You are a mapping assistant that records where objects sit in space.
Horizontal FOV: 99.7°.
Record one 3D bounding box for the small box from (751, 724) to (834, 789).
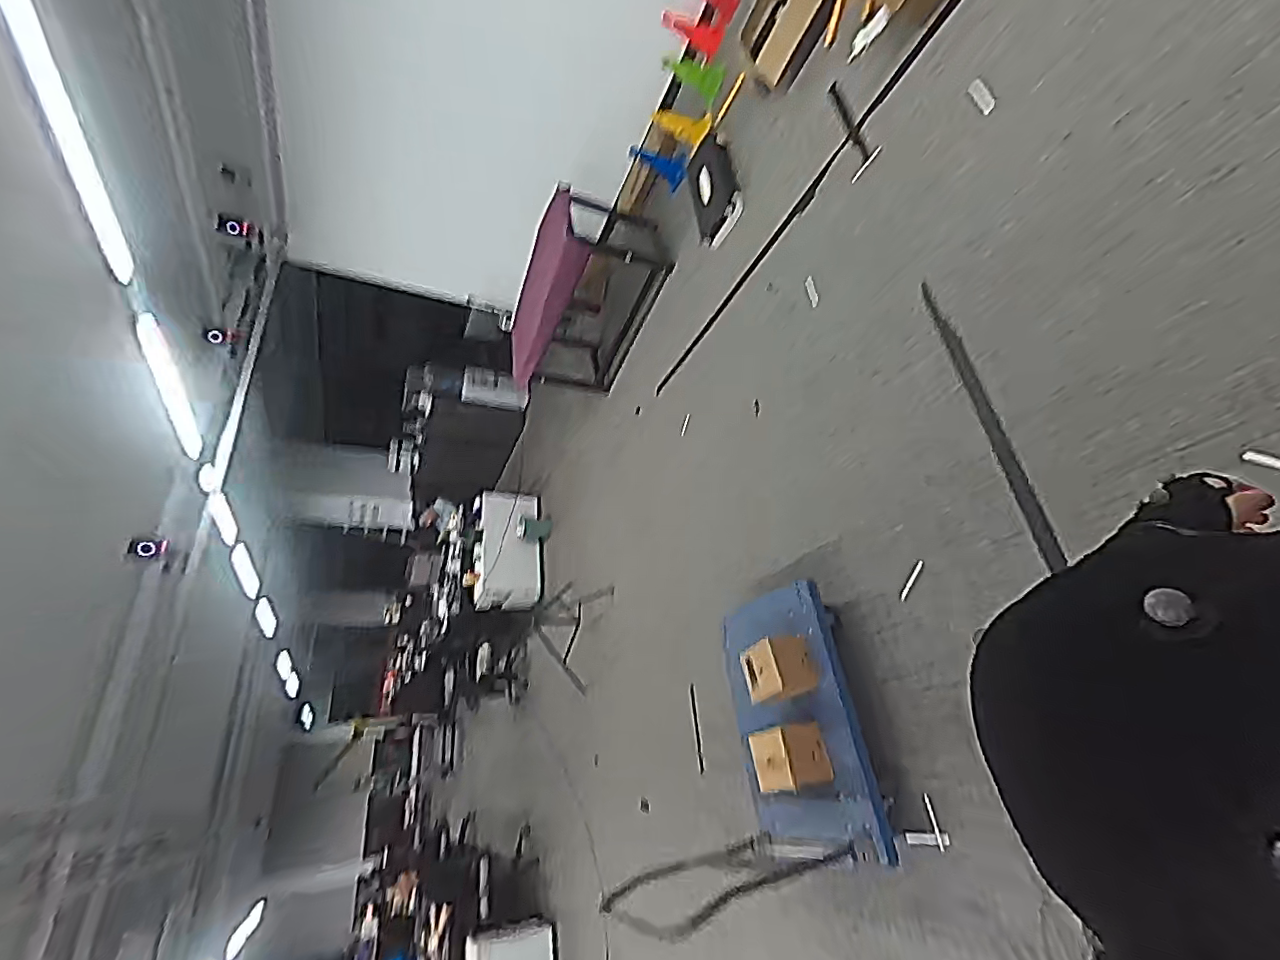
[{"bbox_3d":[0.496,0.901,1.761,0.179,0.176,0.168,-51,40,47],"label":"small box"}]
